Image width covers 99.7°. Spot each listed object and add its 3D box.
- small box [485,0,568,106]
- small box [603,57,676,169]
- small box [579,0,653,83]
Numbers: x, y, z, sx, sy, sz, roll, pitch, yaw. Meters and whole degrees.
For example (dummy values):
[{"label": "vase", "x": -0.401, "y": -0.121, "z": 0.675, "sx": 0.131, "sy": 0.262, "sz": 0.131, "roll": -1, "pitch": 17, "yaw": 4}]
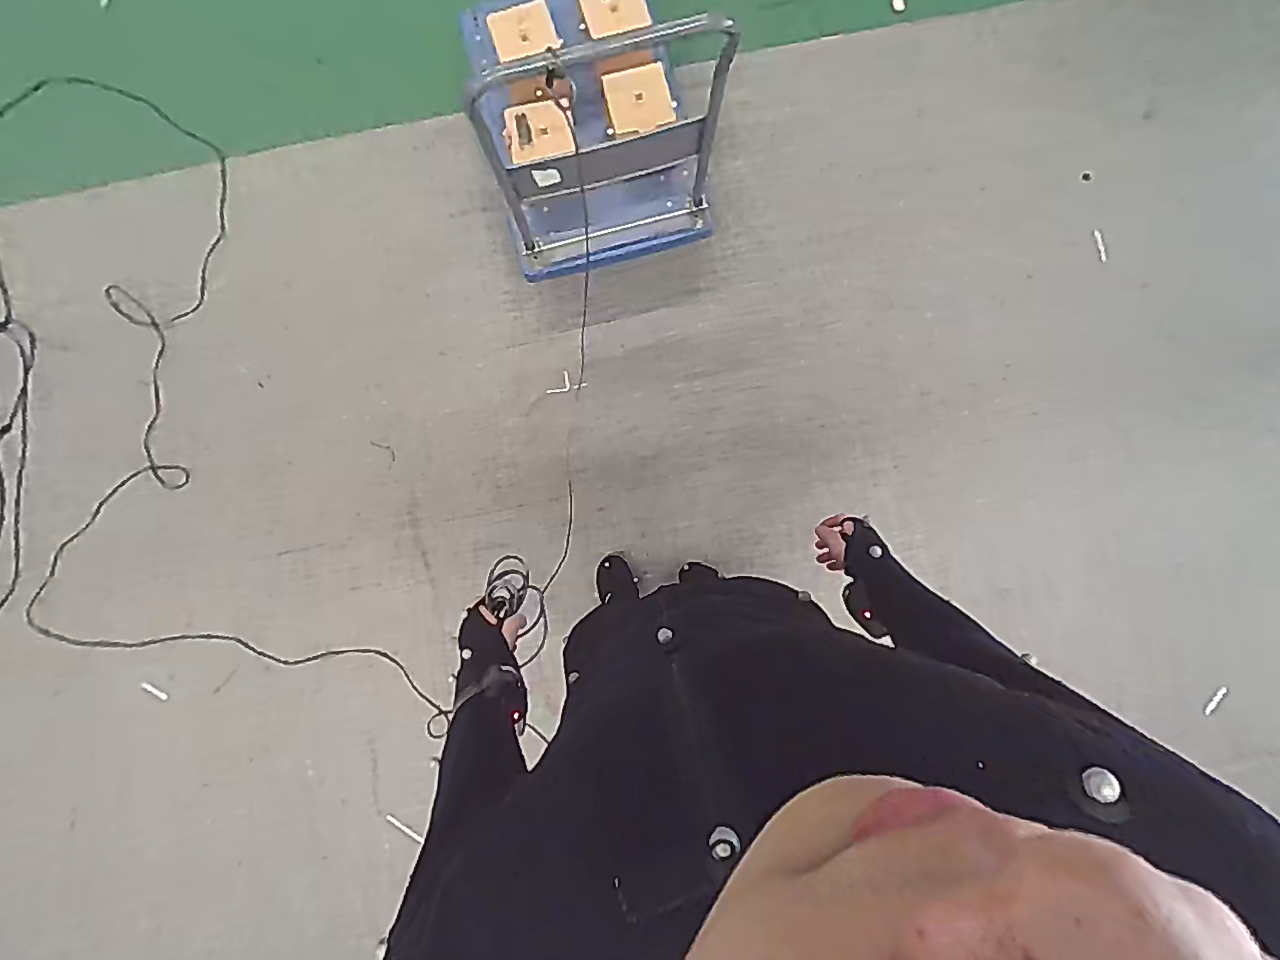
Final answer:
[{"label": "small box", "x": -0.307, "y": -1.185, "z": 1.506, "sx": 0.168, "sy": 0.176, "sz": 0.179, "roll": -18, "pitch": 86, "yaw": -1}, {"label": "small box", "x": -0.003, "y": -1.003, "z": 1.487, "sx": 0.168, "sy": 0.176, "sz": 0.179, "roll": -13, "pitch": 86, "yaw": 0}, {"label": "small box", "x": -0.068, "y": -1.264, "z": 1.507, "sx": 0.168, "sy": 0.176, "sz": 0.179, "roll": -18, "pitch": 87, "yaw": 0}]
